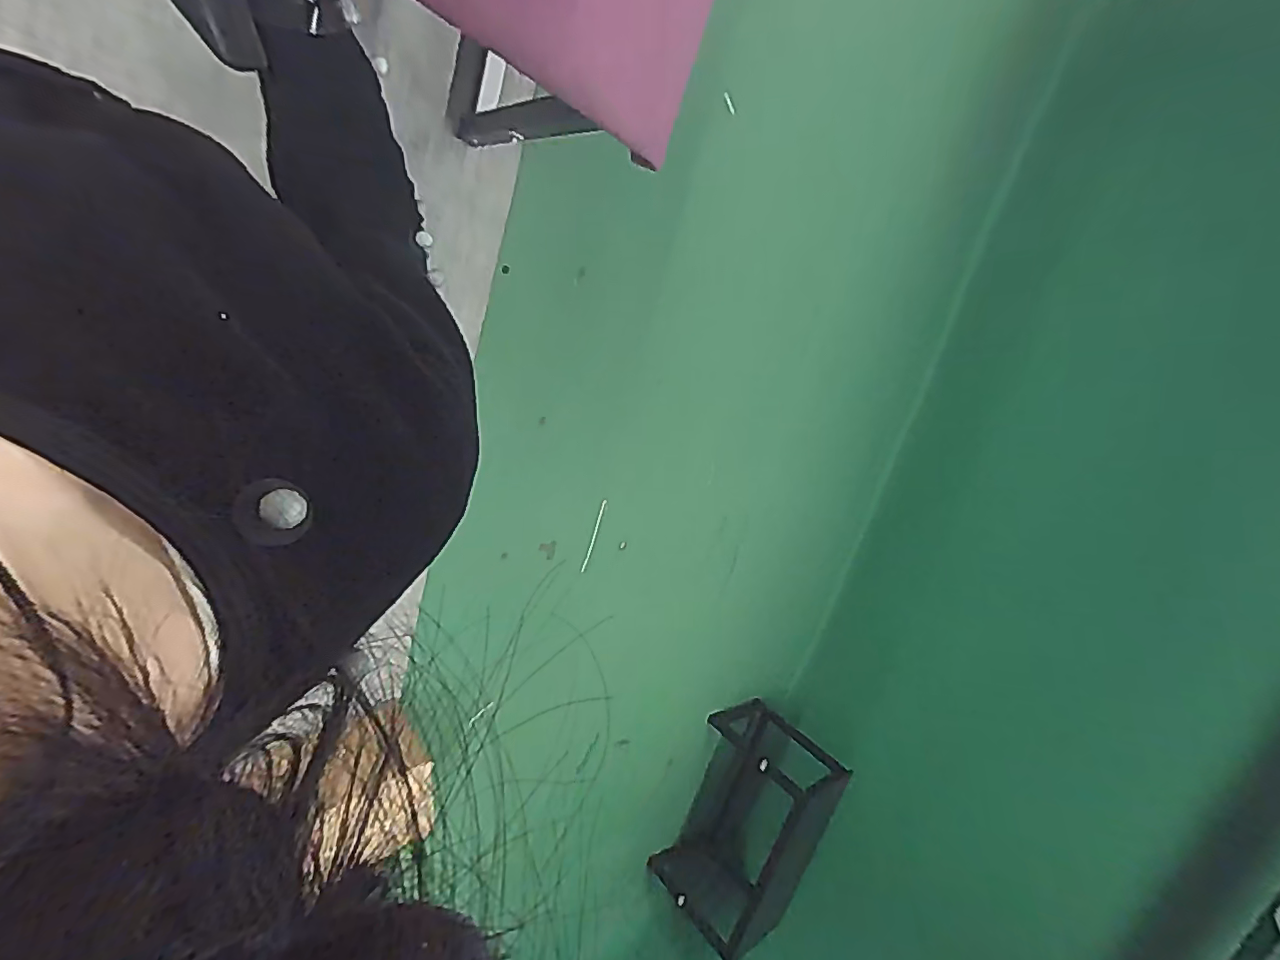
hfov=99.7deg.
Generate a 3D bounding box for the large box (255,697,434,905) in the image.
[{"bbox_3d":[-0.900,0.959,1.668,0.408,0.320,0.320,-13,121,-40],"label":"large box"}]
